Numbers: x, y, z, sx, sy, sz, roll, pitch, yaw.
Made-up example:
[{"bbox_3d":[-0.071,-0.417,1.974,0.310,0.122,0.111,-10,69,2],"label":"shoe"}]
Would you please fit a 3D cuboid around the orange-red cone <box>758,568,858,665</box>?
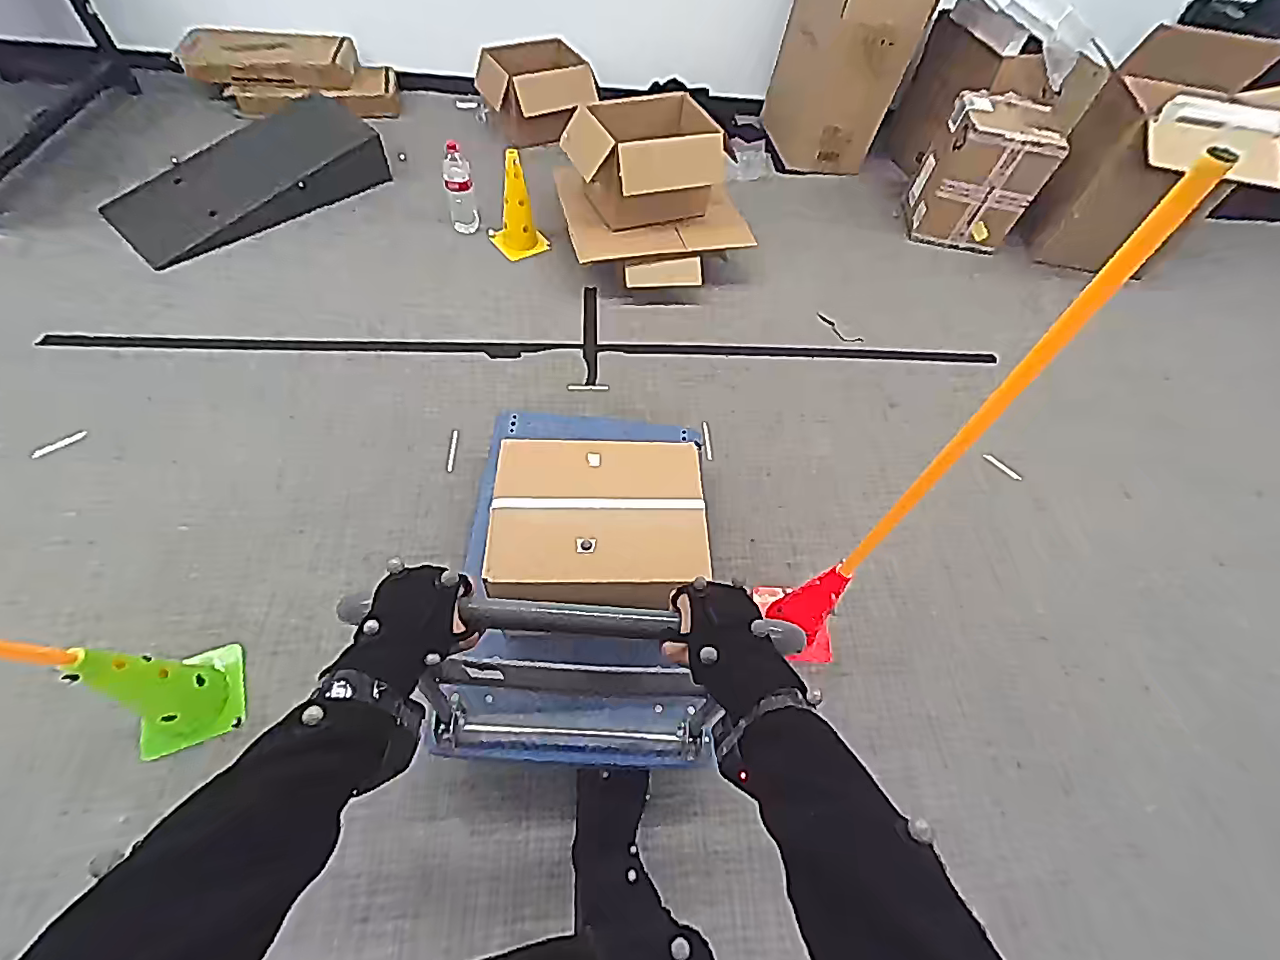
[{"bbox_3d":[0.431,0.296,1.298,0.199,0.360,0.198,6,57,-4],"label":"orange-red cone"}]
